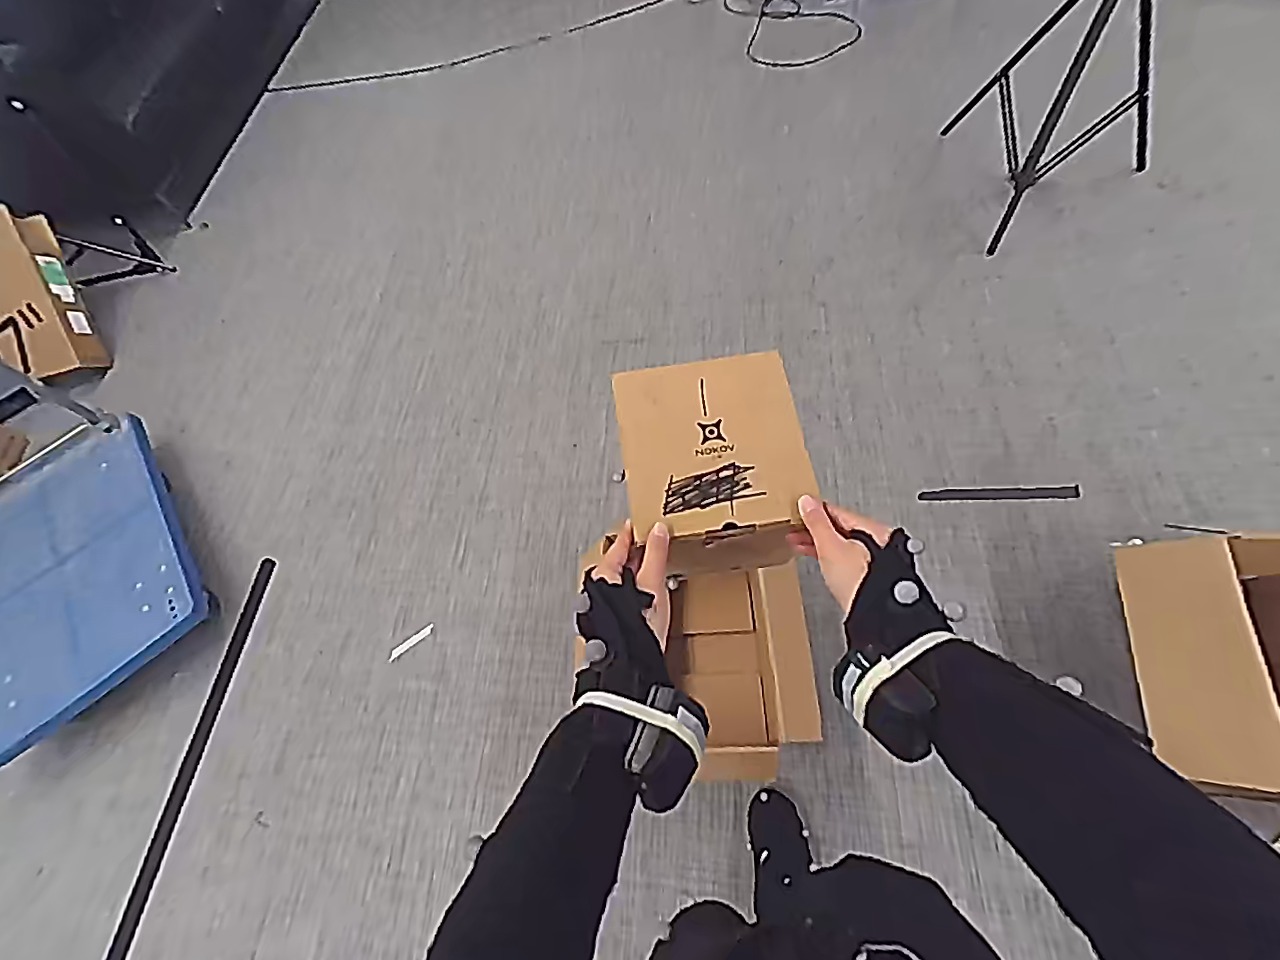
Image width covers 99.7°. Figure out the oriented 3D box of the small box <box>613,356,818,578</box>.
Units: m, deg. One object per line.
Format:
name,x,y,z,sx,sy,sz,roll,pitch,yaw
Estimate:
small box,0.068,-0.002,0.571,0.168,0.176,0.179,-8,66,-1
